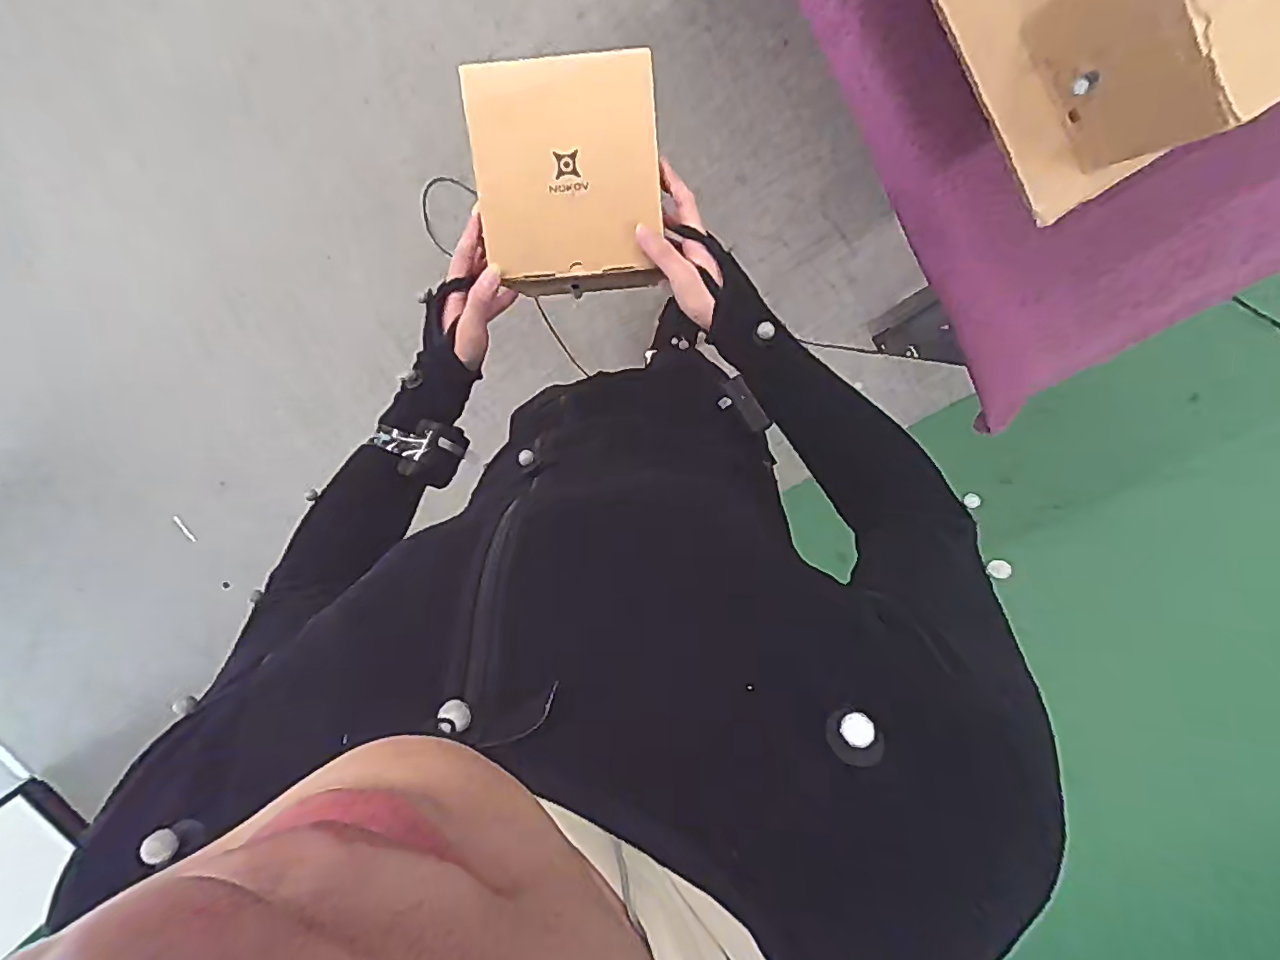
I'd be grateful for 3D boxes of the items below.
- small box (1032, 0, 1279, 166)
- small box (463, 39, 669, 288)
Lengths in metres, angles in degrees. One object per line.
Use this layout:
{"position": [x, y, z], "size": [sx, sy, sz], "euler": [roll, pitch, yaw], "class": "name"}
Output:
{"position": [0.487, -0.404, 0.450], "size": [0.179, 0.176, 0.168], "euler": [-32, 103, 15], "class": "small box"}
{"position": [-0.063, -0.298, 0.547], "size": [0.168, 0.176, 0.179], "euler": [-5, 106, 0], "class": "small box"}
